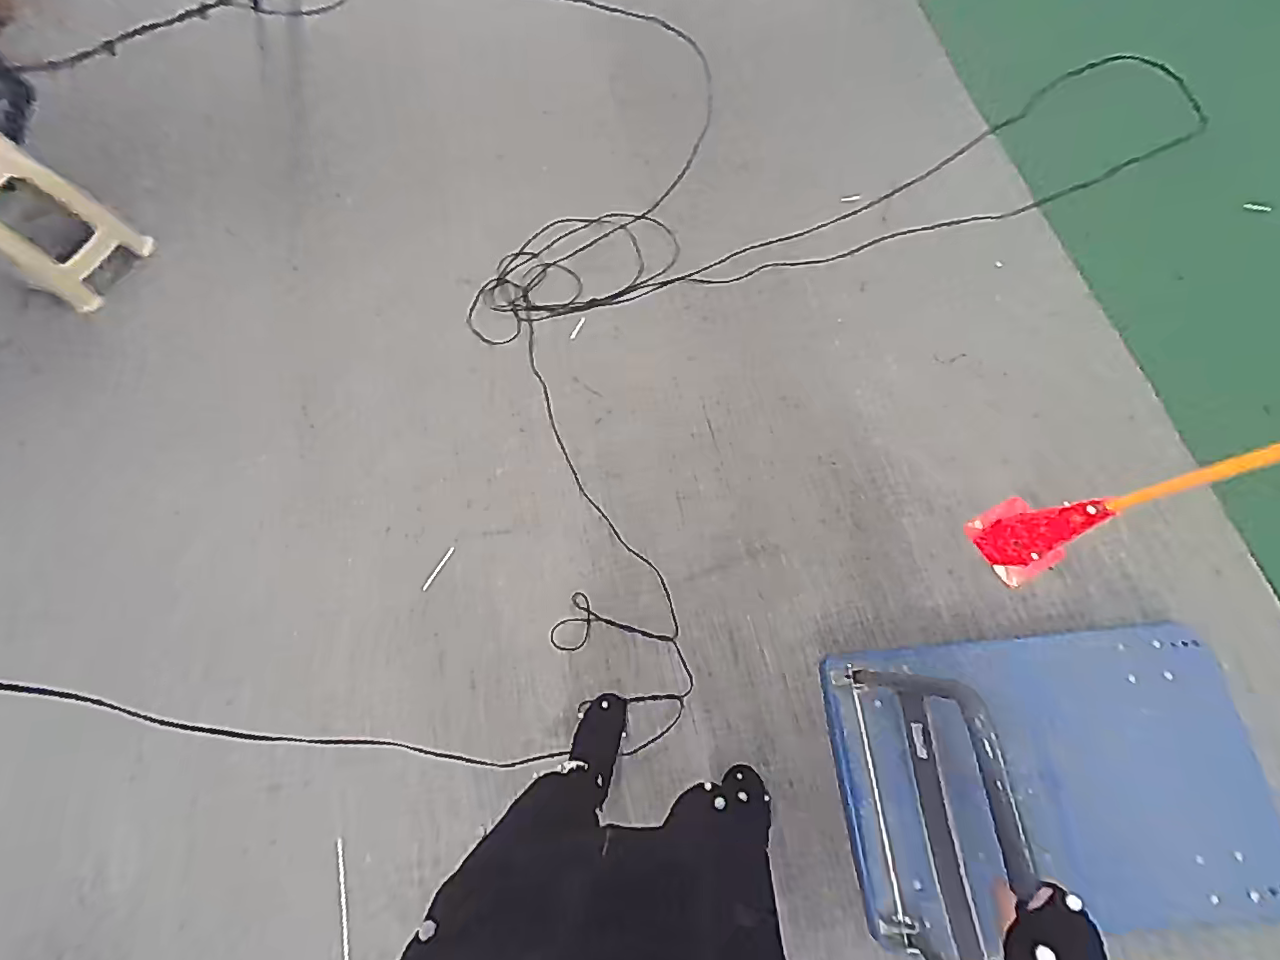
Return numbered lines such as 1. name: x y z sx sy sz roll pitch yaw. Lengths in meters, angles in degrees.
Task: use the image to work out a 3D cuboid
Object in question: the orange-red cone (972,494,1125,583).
1. orange-red cone: 1.037 0.106 1.334 0.198 0.360 0.199 -26 70 -7
